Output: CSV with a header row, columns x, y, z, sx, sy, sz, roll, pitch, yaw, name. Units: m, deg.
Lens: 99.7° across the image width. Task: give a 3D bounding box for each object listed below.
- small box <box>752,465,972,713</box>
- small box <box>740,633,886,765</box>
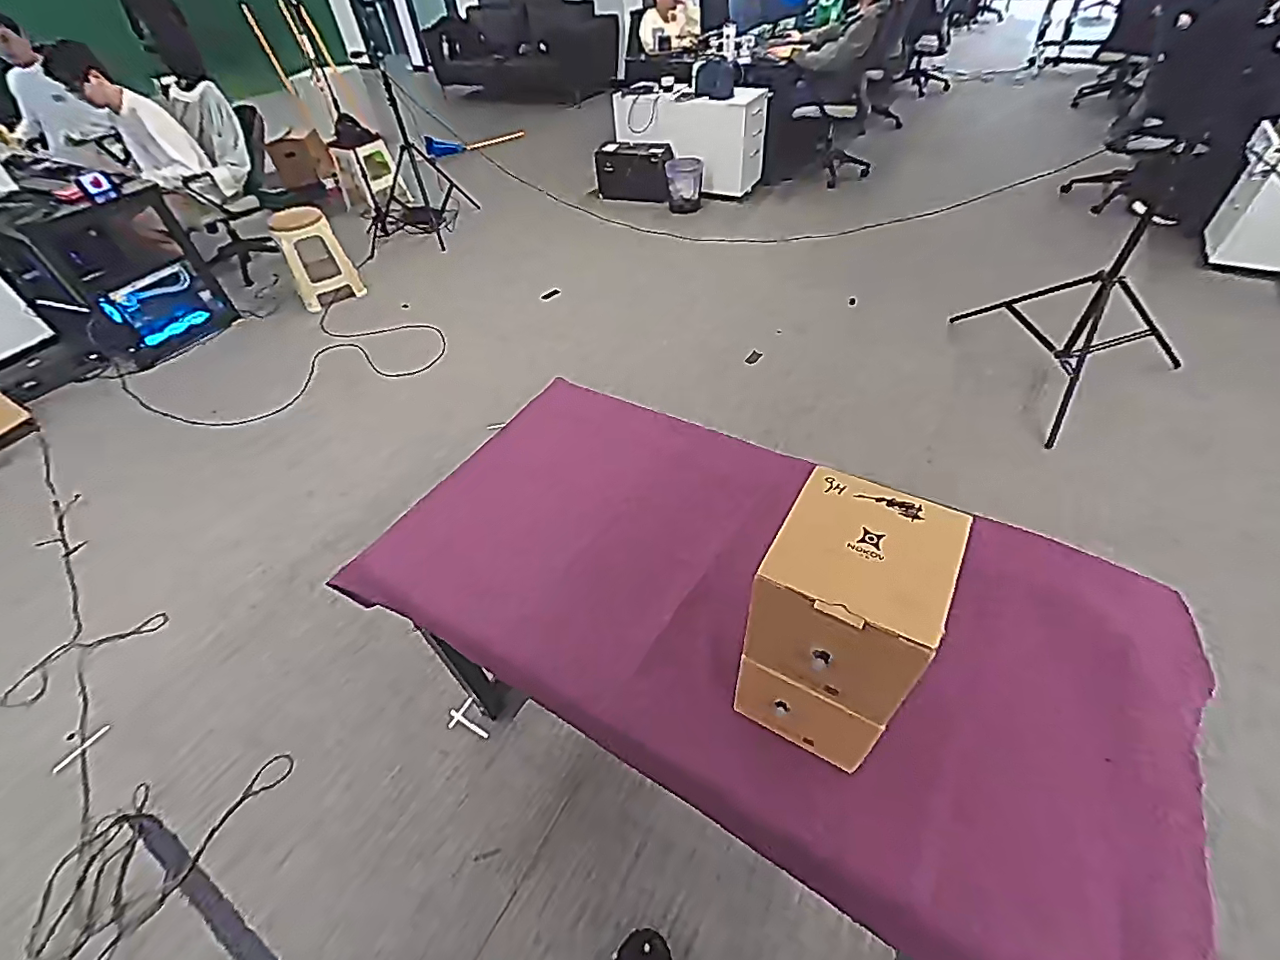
x,y,z,sx,sy,sz,roll,pitch,yaw,name
0.231,0.120,0.594,0.168,0.176,0.179,22,52,24,small box
0.239,0.236,0.710,0.168,0.176,0.179,21,51,24,small box
